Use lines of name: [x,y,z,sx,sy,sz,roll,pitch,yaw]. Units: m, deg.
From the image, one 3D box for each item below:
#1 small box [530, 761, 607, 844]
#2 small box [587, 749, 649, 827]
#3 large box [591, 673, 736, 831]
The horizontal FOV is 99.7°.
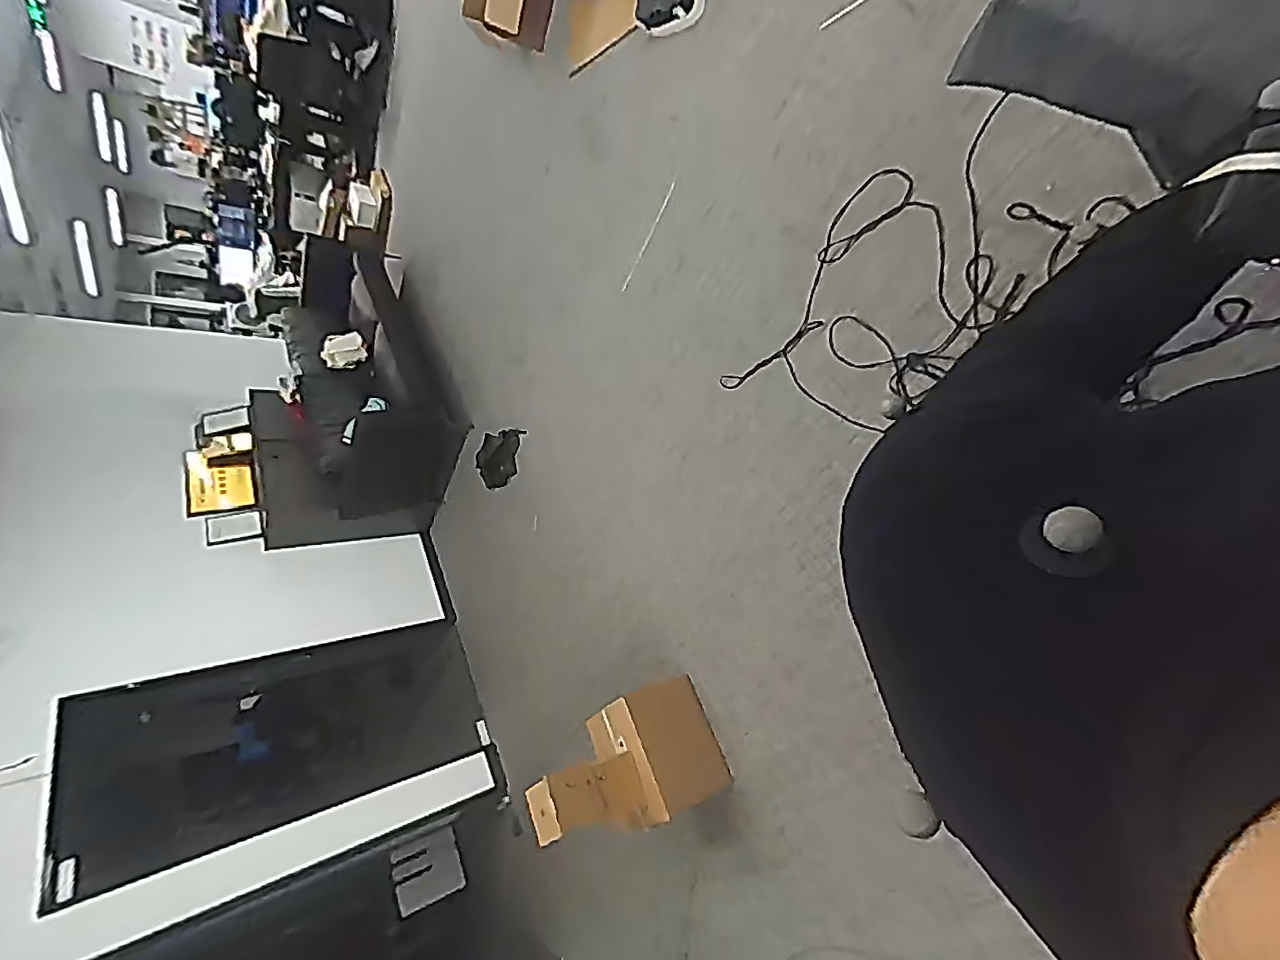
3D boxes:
small box: [-0.224,1.020,1.719,0.179,0.176,0.168,-54,51,41]
small box: [-0.095,1.034,1.817,0.168,0.176,0.179,-43,59,44]
large box: [0.078,0.987,1.986,0.320,0.320,0.408,-49,55,40]
